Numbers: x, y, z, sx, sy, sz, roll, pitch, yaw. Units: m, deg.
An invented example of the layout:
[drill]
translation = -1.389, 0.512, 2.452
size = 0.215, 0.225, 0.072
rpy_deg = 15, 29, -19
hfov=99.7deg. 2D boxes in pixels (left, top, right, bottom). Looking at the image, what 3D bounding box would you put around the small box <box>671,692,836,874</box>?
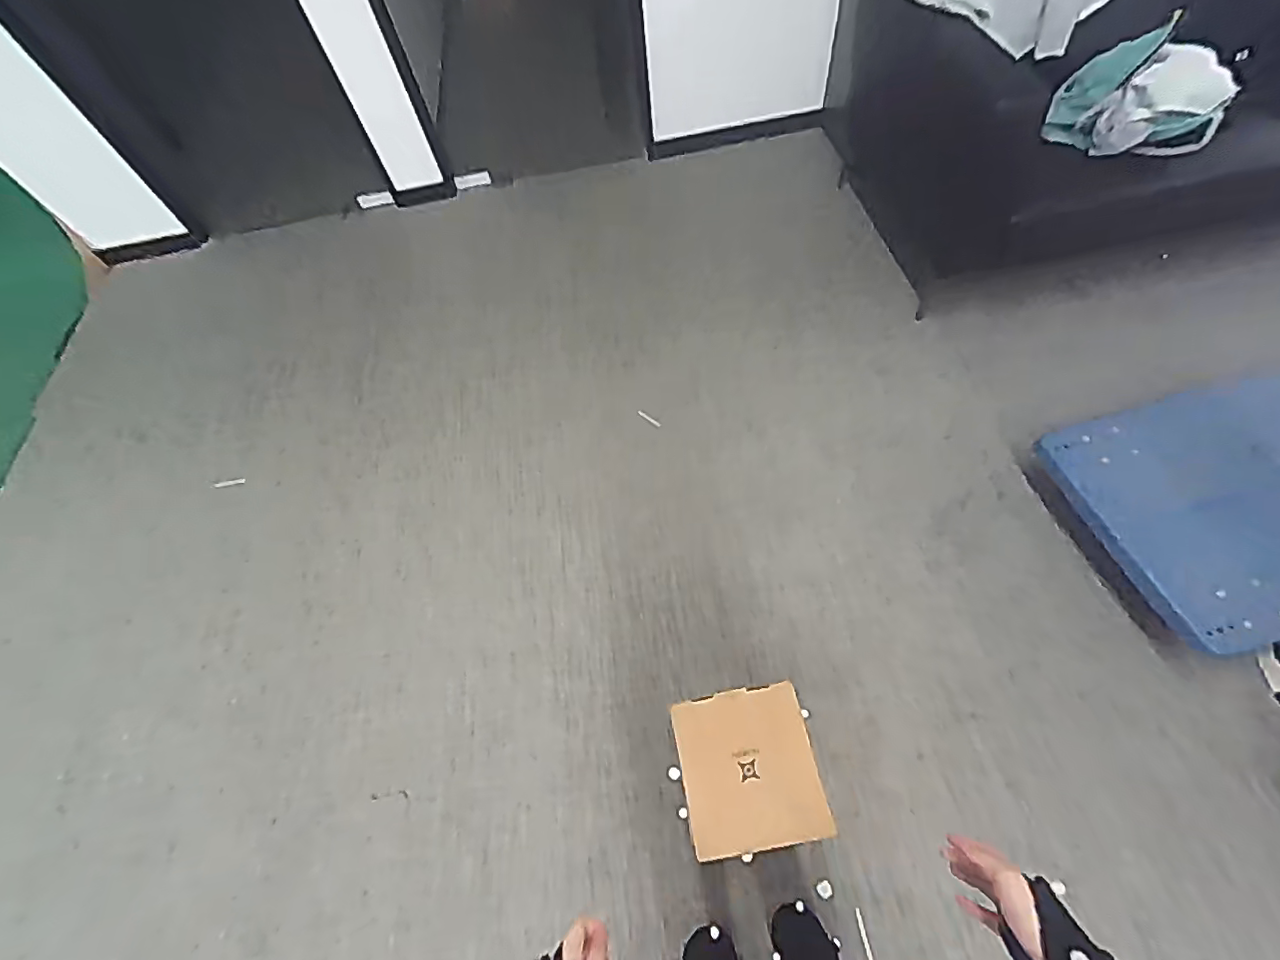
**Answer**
[small box]
translation = 0.141, 0.400, 0.725
size = 0.168, 0.176, 0.179
rpy_deg = -11, 58, 1
